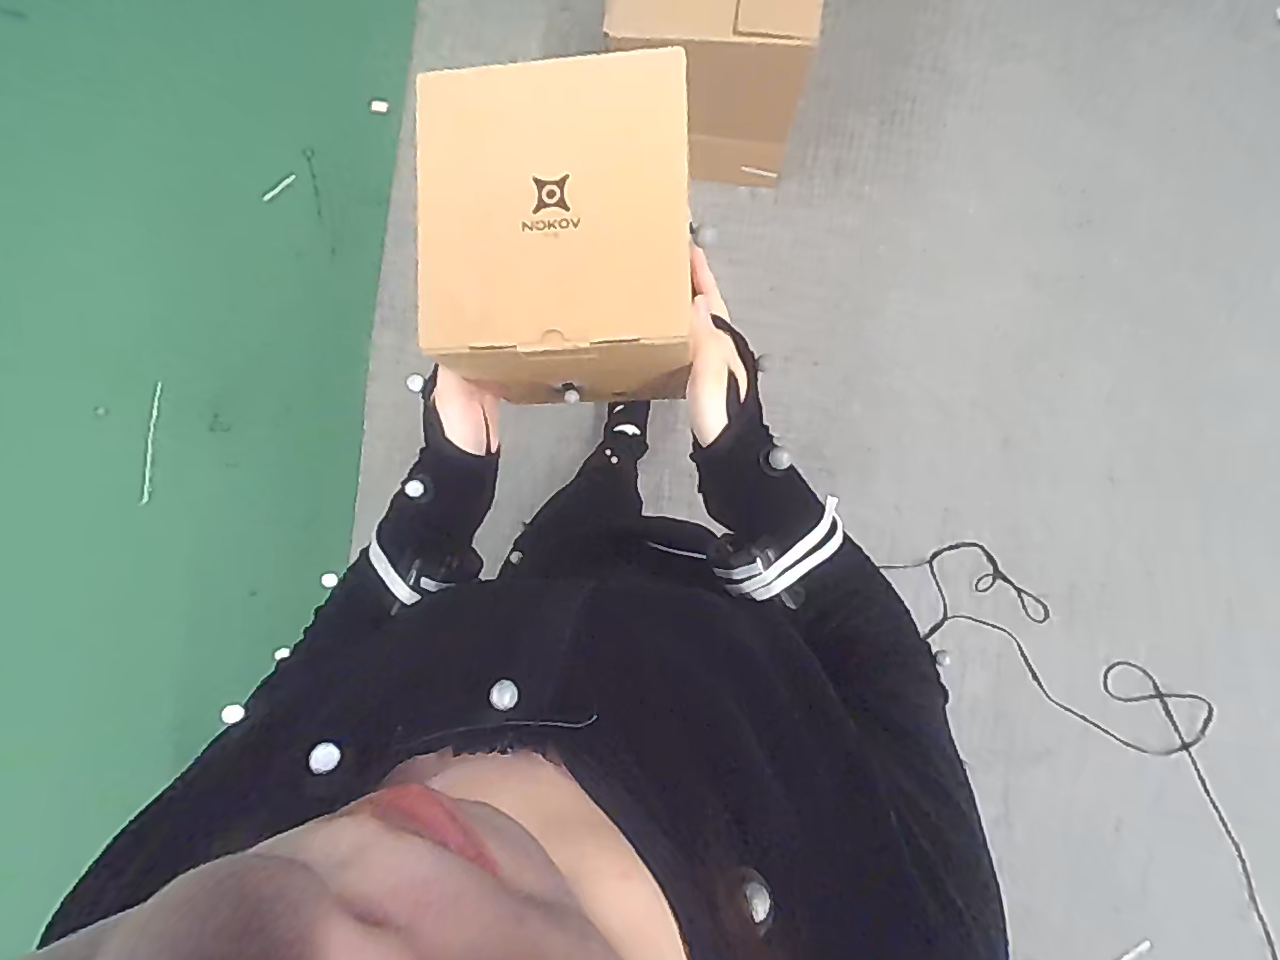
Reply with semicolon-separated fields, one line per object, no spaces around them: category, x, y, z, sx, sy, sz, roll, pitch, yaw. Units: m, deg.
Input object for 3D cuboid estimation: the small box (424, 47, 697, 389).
small box;-0.044;-0.170;0.404;0.168;0.176;0.179;0;90;4
